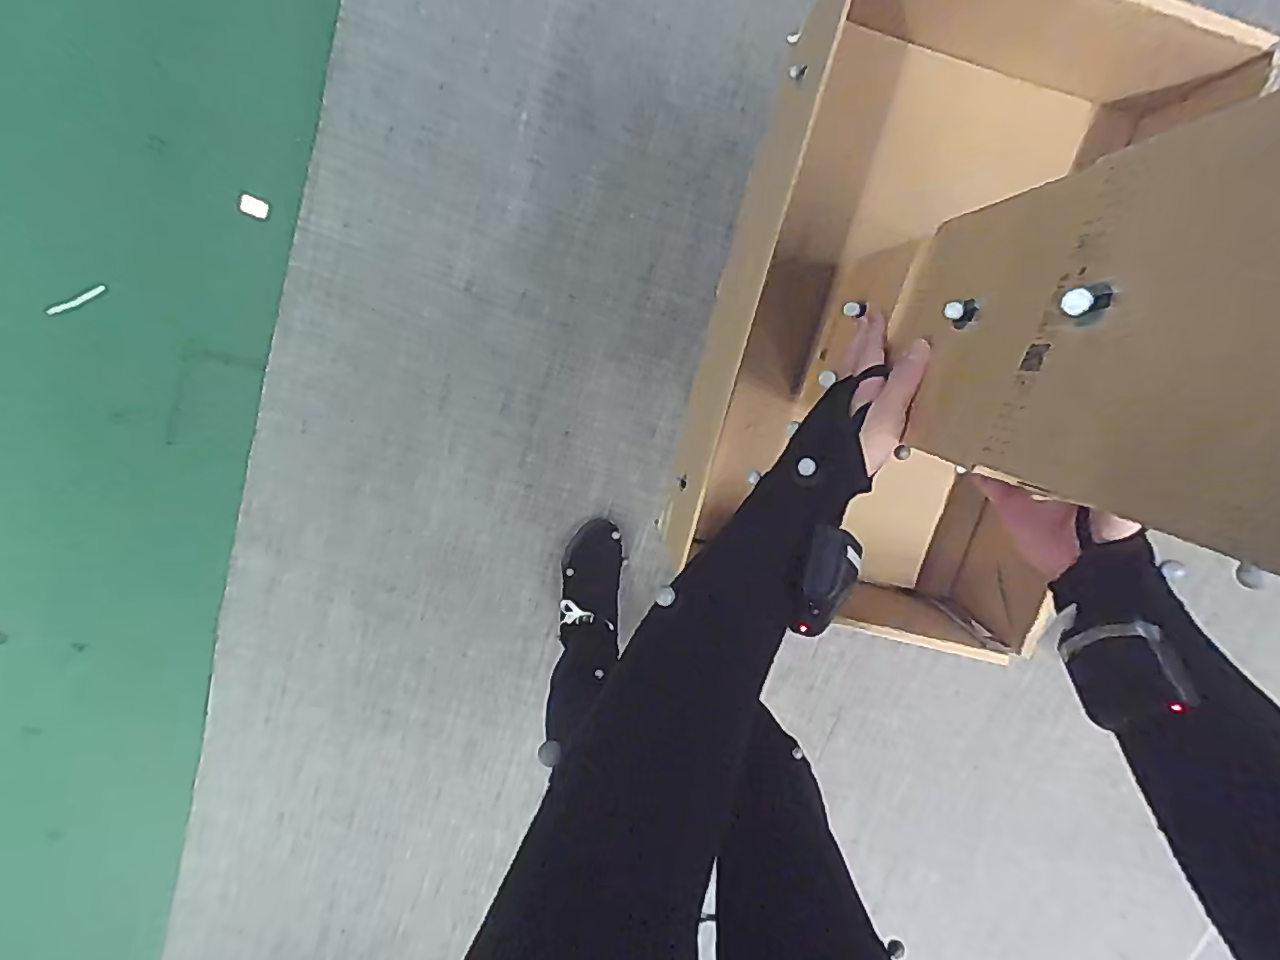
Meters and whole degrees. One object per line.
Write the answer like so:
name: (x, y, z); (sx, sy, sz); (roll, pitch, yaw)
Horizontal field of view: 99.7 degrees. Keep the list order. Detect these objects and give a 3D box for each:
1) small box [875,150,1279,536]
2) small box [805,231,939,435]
small box: (0.295, -0.087, 0.380); (0.168, 0.176, 0.179); (16, 103, -5)
small box: (0.289, -0.124, 0.539); (0.179, 0.176, 0.168); (15, 104, -5)
